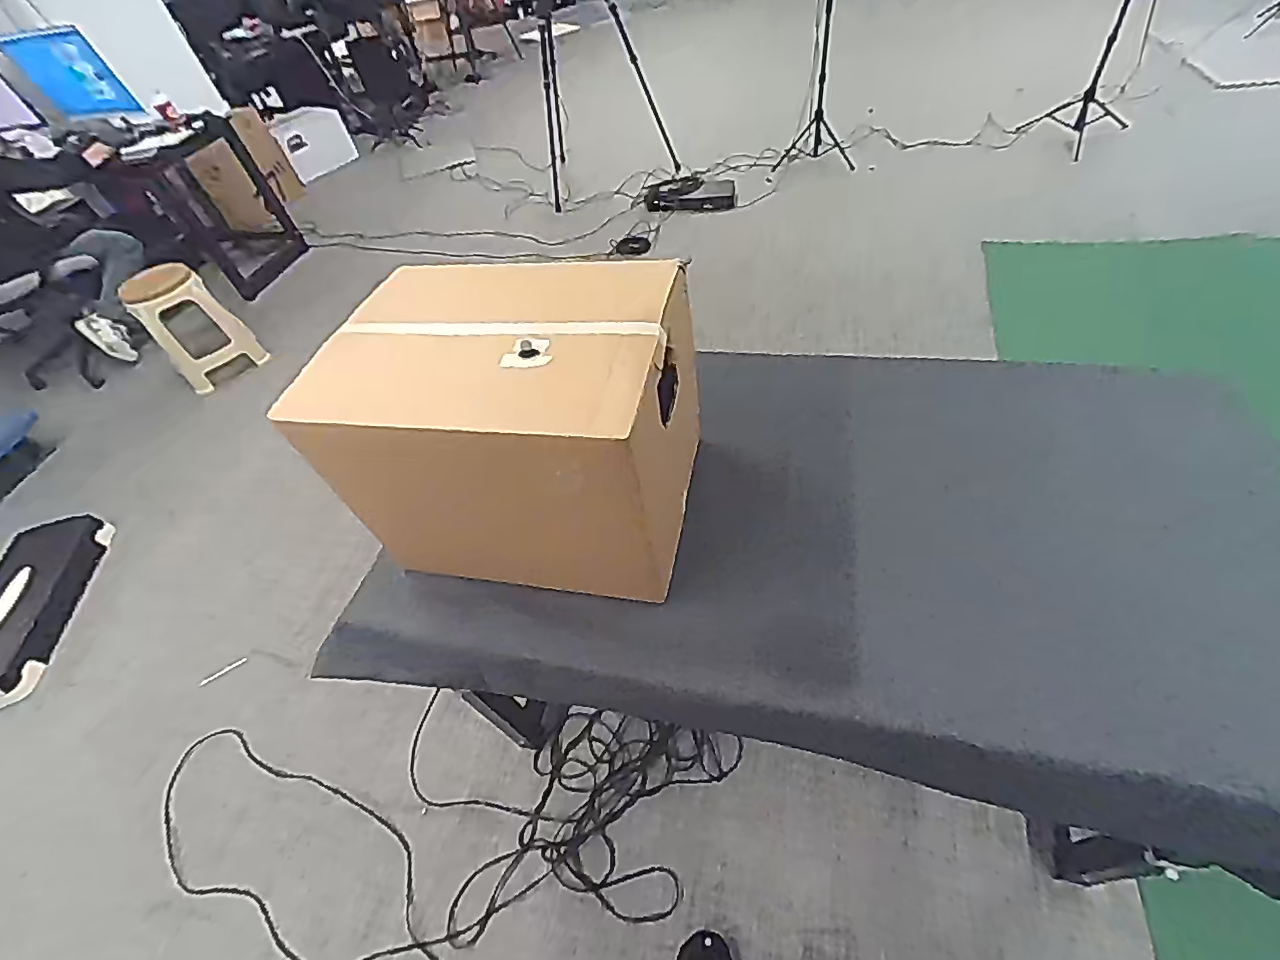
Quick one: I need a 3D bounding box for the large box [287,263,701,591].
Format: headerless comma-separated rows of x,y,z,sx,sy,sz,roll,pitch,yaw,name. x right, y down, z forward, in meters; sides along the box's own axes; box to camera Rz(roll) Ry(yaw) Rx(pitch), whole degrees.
-0.139,-0.074,0.735,0.408,0.320,0.320,5,52,13,large box
